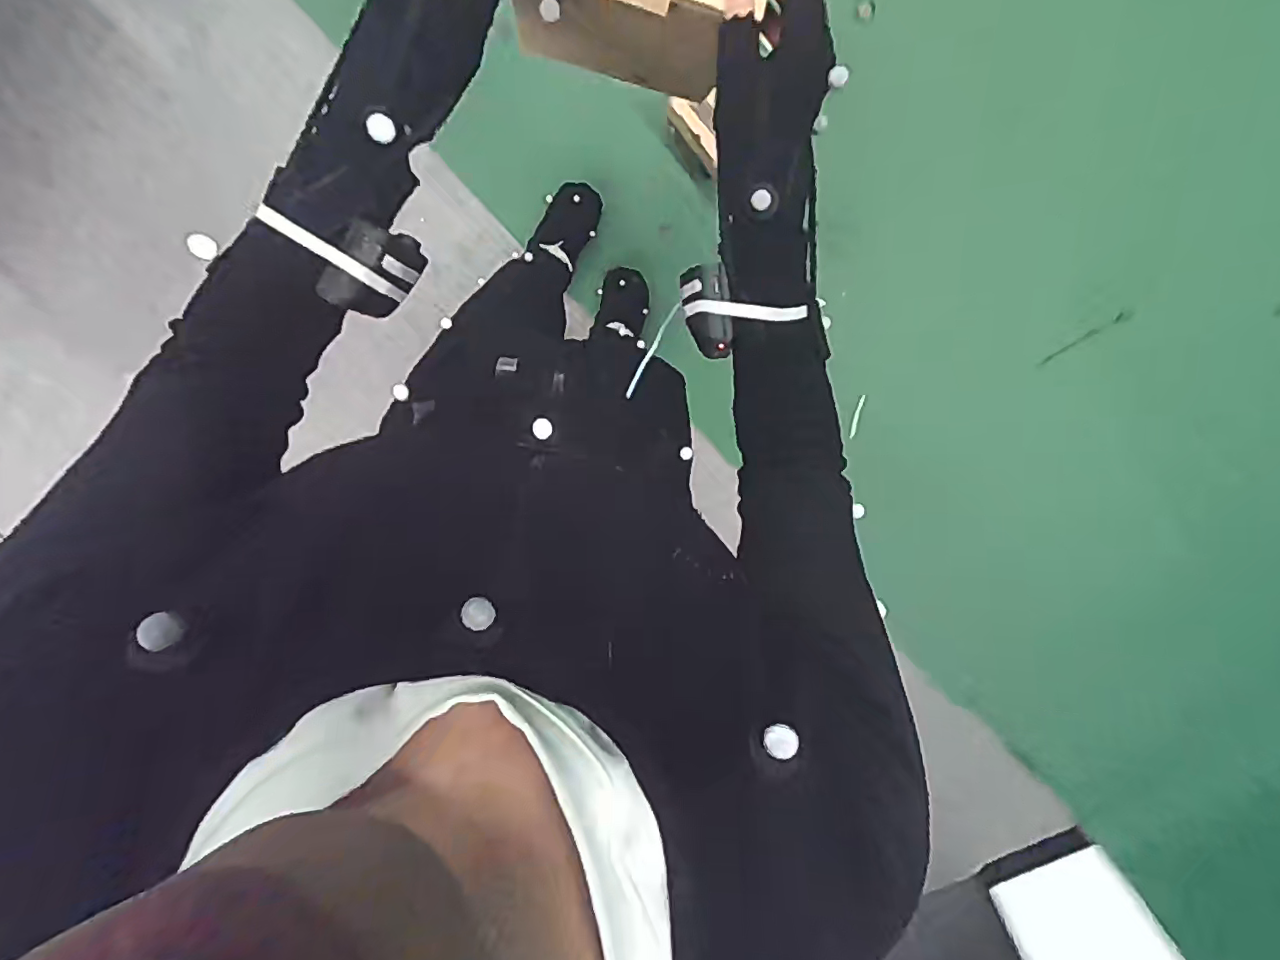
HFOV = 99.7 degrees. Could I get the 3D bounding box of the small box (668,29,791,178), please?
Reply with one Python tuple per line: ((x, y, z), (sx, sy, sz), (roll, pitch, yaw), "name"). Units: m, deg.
((0.174, -0.741, 1.093), (0.179, 0.176, 0.168), (-38, 110, 17), "small box")
